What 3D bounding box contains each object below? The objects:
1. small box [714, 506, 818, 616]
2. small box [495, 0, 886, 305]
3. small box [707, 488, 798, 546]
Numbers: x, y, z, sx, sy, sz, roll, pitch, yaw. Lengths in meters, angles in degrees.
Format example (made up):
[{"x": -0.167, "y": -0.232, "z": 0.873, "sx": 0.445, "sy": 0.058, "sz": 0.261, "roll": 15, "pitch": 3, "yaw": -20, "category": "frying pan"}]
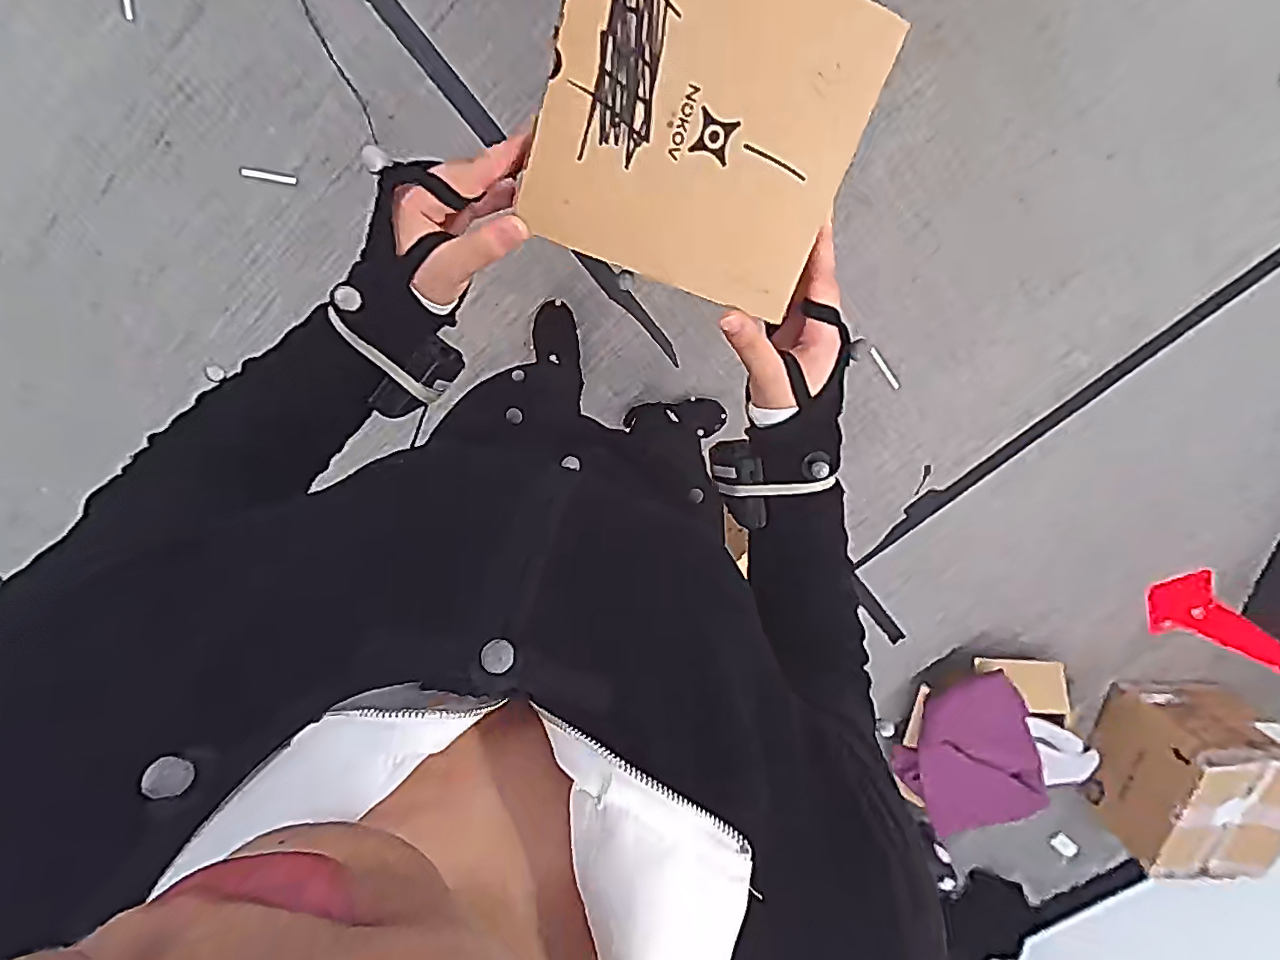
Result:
[{"x": 0.307, "y": 0.195, "z": 1.351, "sx": 0.168, "sy": 0.176, "sz": 0.179, "roll": -38, "pitch": 107, "yaw": 12, "category": "small box"}, {"x": 0.017, "y": -0.234, "z": 0.368, "sx": 0.179, "sy": 0.176, "sz": 0.168, "roll": 15, "pitch": 113, "yaw": -12, "category": "small box"}, {"x": 0.306, "y": 0.142, "z": 1.508, "sx": 0.168, "sy": 0.176, "sz": 0.179, "roll": -40, "pitch": 106, "yaw": 13, "category": "small box"}]
